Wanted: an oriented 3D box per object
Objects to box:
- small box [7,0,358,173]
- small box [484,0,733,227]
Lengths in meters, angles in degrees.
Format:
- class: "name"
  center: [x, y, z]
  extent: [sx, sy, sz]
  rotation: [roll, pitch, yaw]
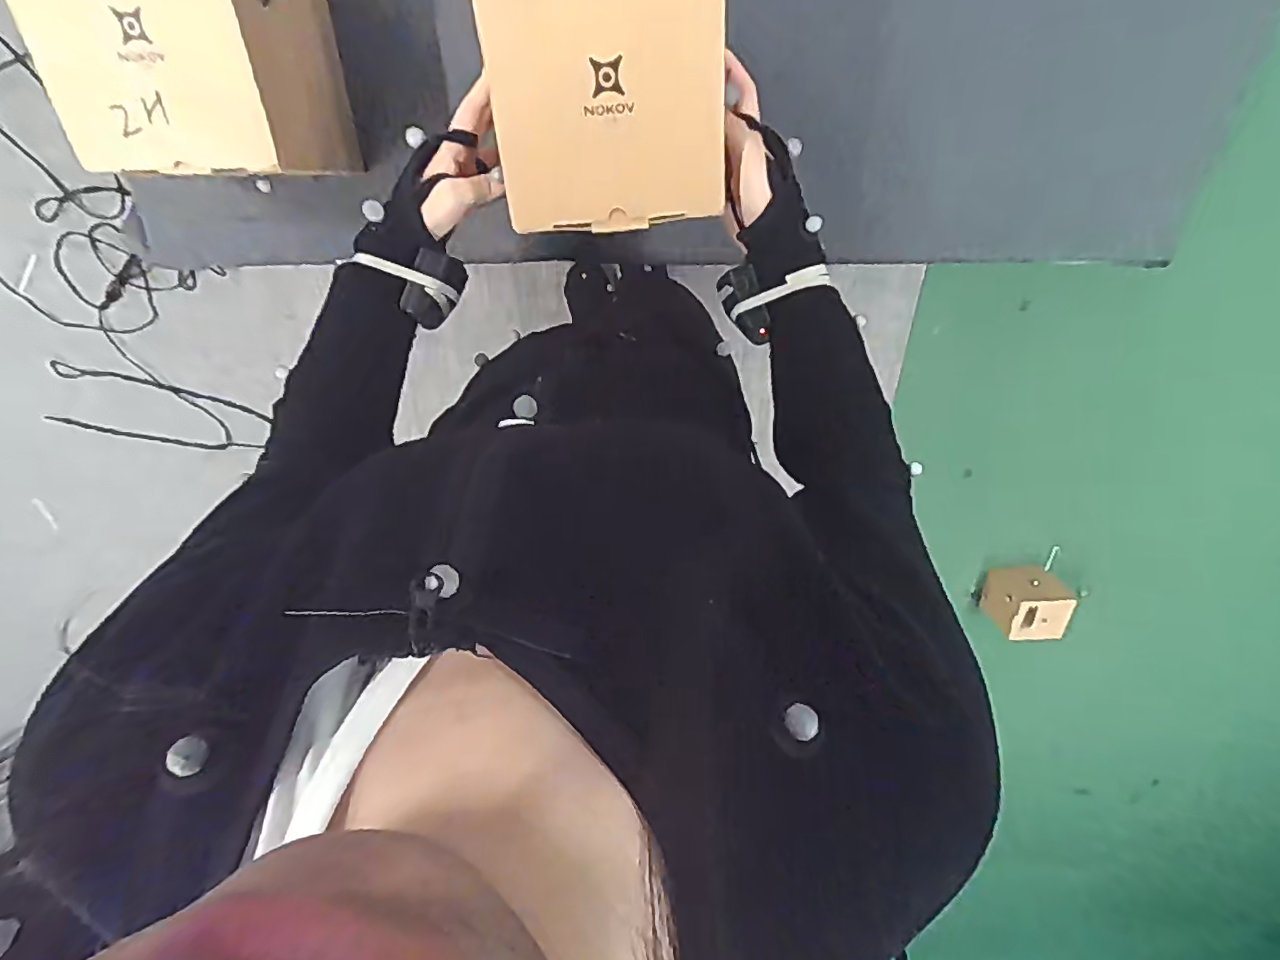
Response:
- class: "small box"
  center: [-0.379, -0.372, 0.473]
  extent: [0.168, 0.176, 0.179]
  rotation: [-1, 119, -1]
- class: "small box"
  center: [-0.023, -0.315, 0.441]
  extent: [0.168, 0.176, 0.179]
  rotation: [-6, 121, -1]
